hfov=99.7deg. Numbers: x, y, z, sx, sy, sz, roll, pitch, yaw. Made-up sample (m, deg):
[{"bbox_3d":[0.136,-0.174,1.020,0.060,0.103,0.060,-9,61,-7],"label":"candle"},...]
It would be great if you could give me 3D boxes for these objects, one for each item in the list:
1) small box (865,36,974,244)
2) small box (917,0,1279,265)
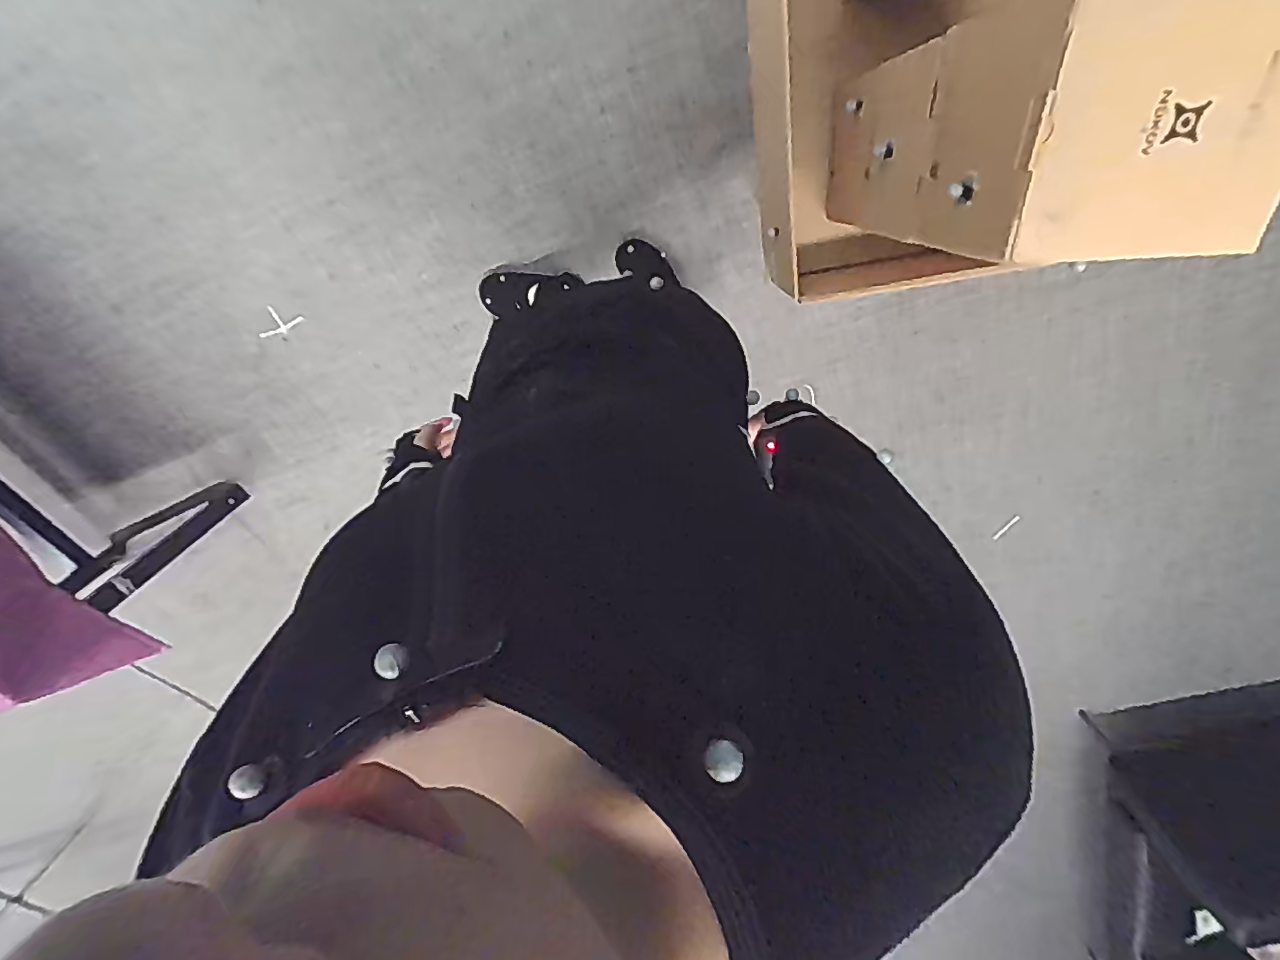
[{"bbox_3d":[0.352,-0.344,0.561,0.179,0.176,0.168,-2,119,4],"label":"small box"},{"bbox_3d":[0.346,-0.265,0.418,0.179,0.176,0.168,-1,120,2],"label":"small box"}]
